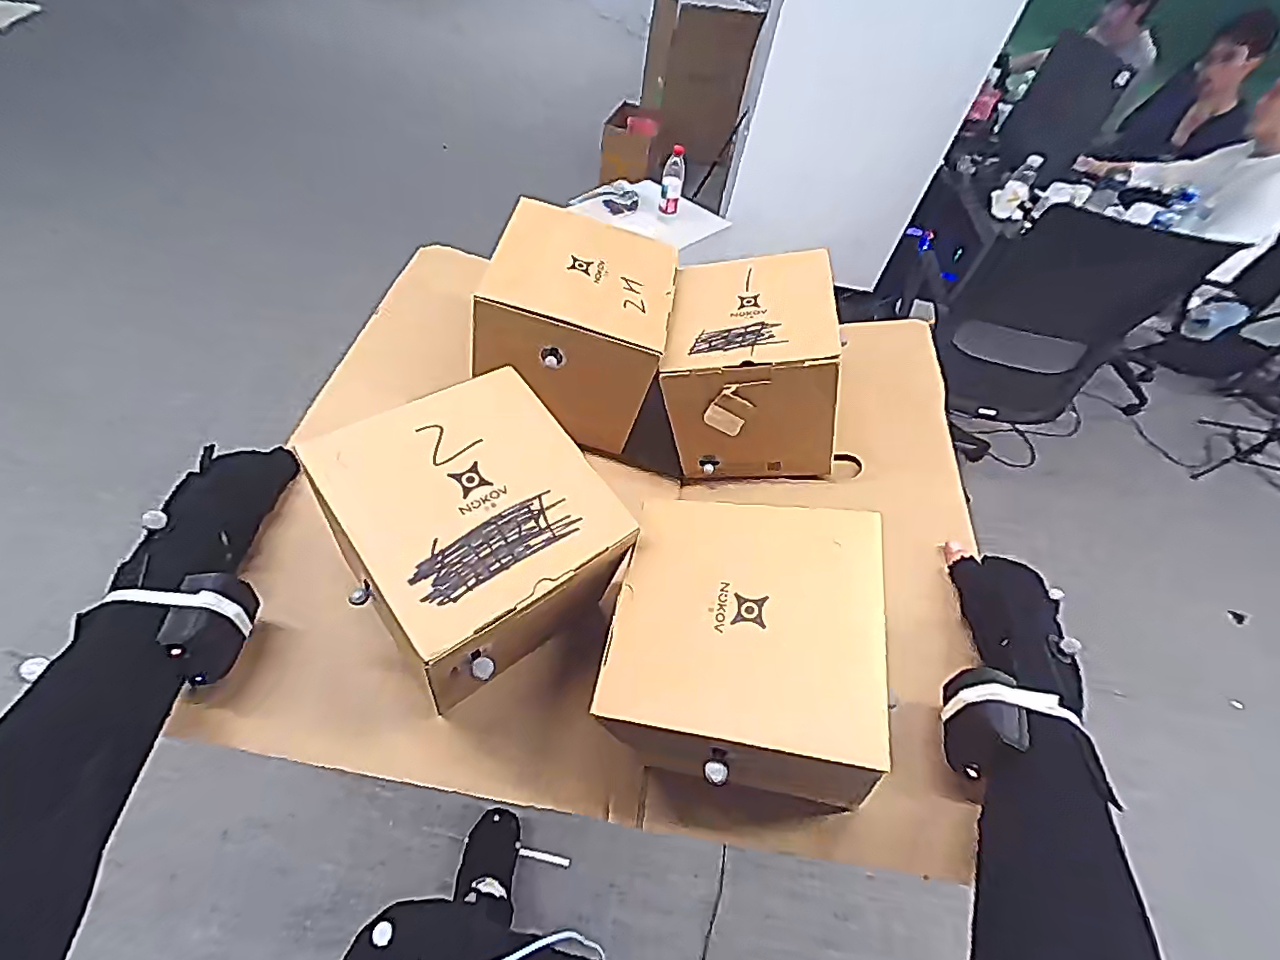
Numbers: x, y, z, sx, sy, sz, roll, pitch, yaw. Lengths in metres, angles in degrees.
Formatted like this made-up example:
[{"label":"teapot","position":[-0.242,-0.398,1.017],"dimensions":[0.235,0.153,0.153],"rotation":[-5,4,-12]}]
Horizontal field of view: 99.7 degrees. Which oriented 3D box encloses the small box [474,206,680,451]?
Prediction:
[{"label":"small box","position":[-0.072,-0.154,0.589],"dimensions":[0.179,0.176,0.168],"rotation":[16,56,-8]}]
